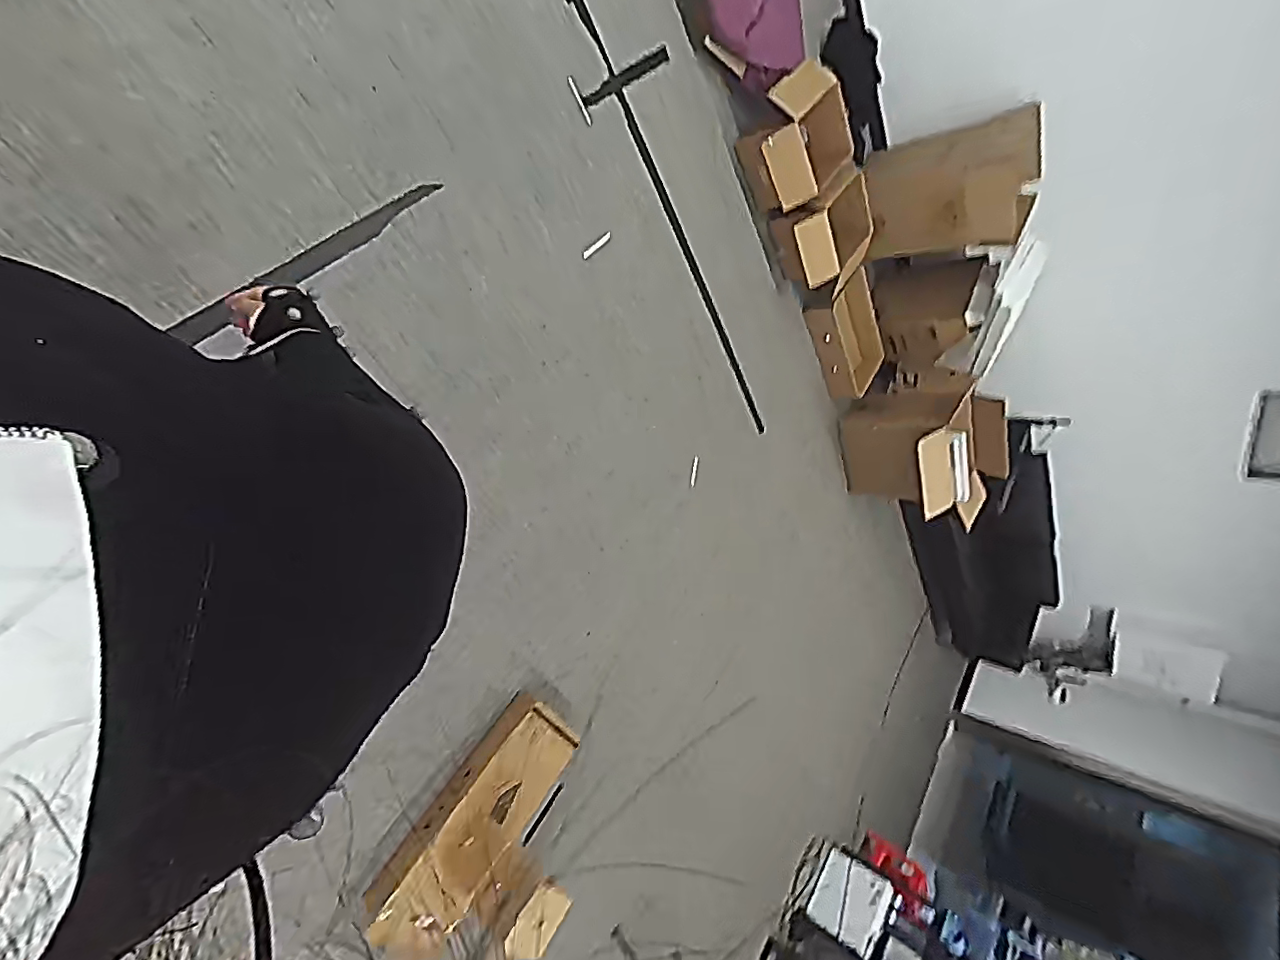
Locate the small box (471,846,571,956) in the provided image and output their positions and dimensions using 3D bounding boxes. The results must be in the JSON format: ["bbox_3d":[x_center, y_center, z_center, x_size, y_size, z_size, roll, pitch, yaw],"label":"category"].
[{"bbox_3d":[-0.334,1.174,1.518,0.168,0.176,0.179,-52,129,-26],"label":"small box"}]

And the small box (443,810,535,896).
[{"bbox_3d":[-0.453,1.141,1.629,0.168,0.176,0.179,-48,126,-29],"label":"small box"}]
